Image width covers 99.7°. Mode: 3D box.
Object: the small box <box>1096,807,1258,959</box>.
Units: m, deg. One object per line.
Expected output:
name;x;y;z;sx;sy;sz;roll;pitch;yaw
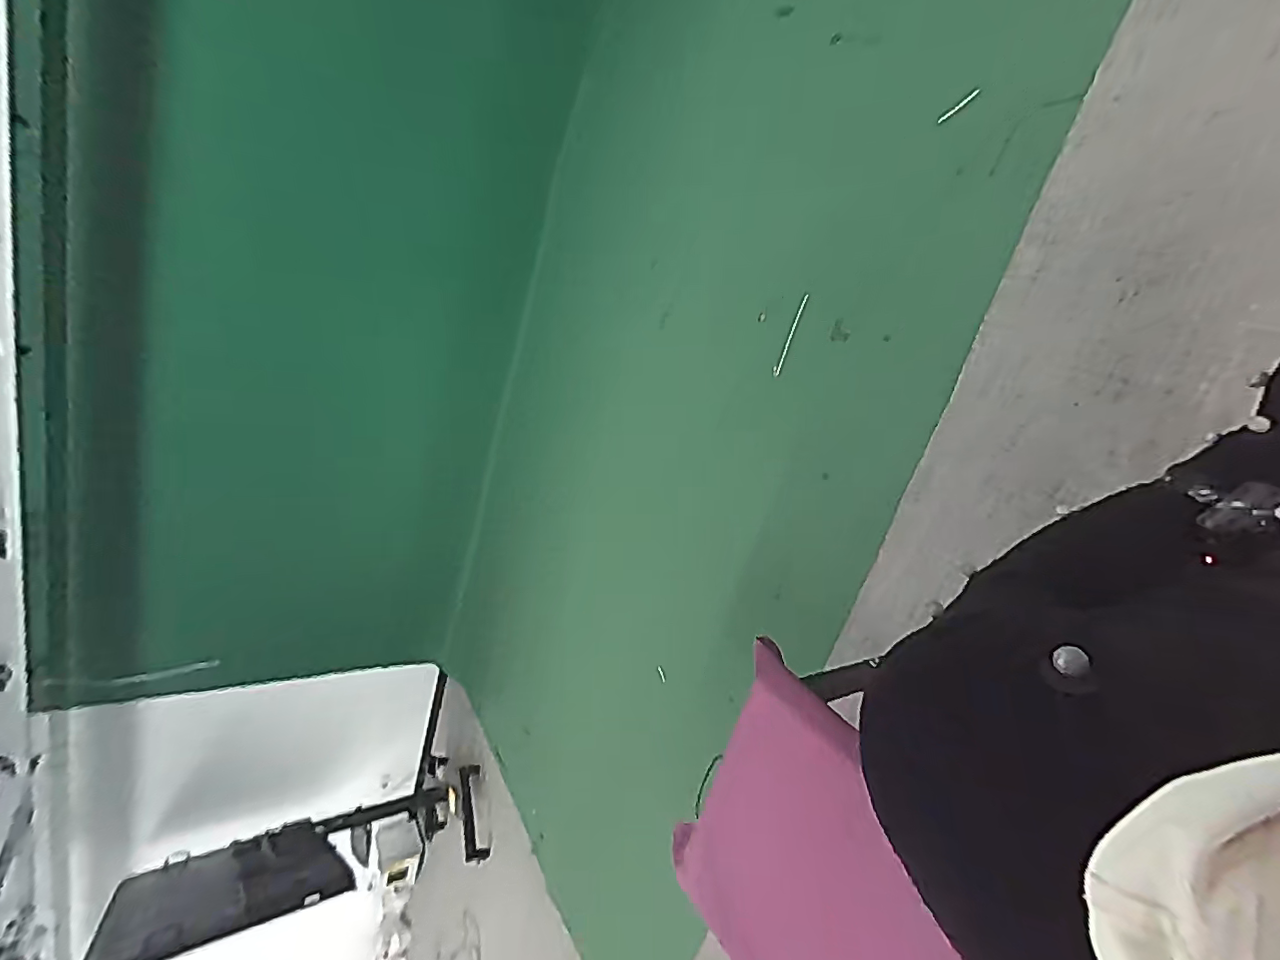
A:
small box;1.097;0.809;1.106;0.179;0.176;0.168;35;114;48
